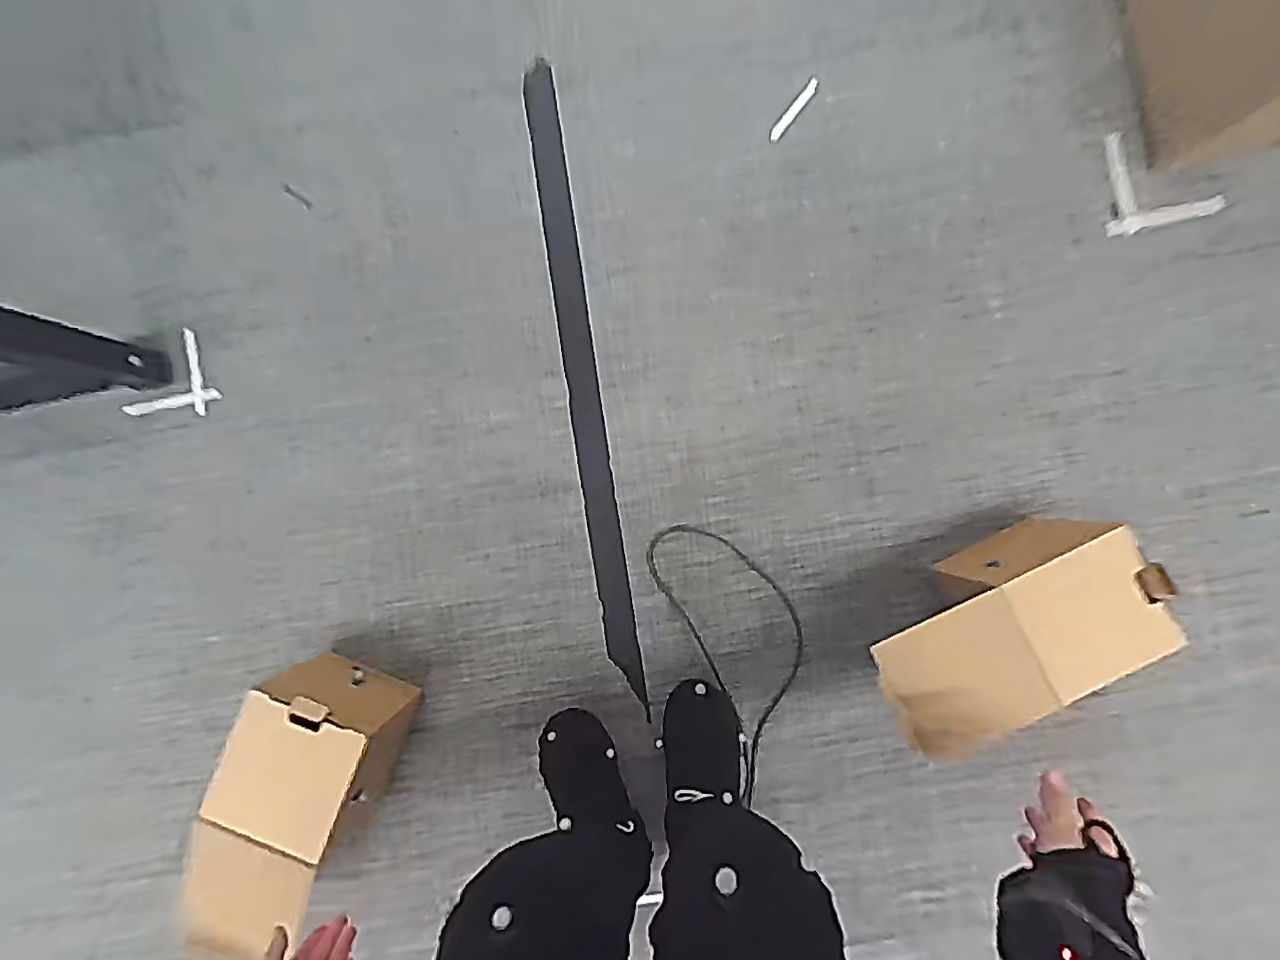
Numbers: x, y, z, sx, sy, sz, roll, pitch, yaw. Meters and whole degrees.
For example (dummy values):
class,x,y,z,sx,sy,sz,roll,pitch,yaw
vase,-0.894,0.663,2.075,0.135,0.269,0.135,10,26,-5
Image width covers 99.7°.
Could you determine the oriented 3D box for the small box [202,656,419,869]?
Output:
class,x,y,z,sx,sy,sz,roll,pitch,yaw
small box,-0.437,0.373,0.749,0.168,0.176,0.179,21,88,2
